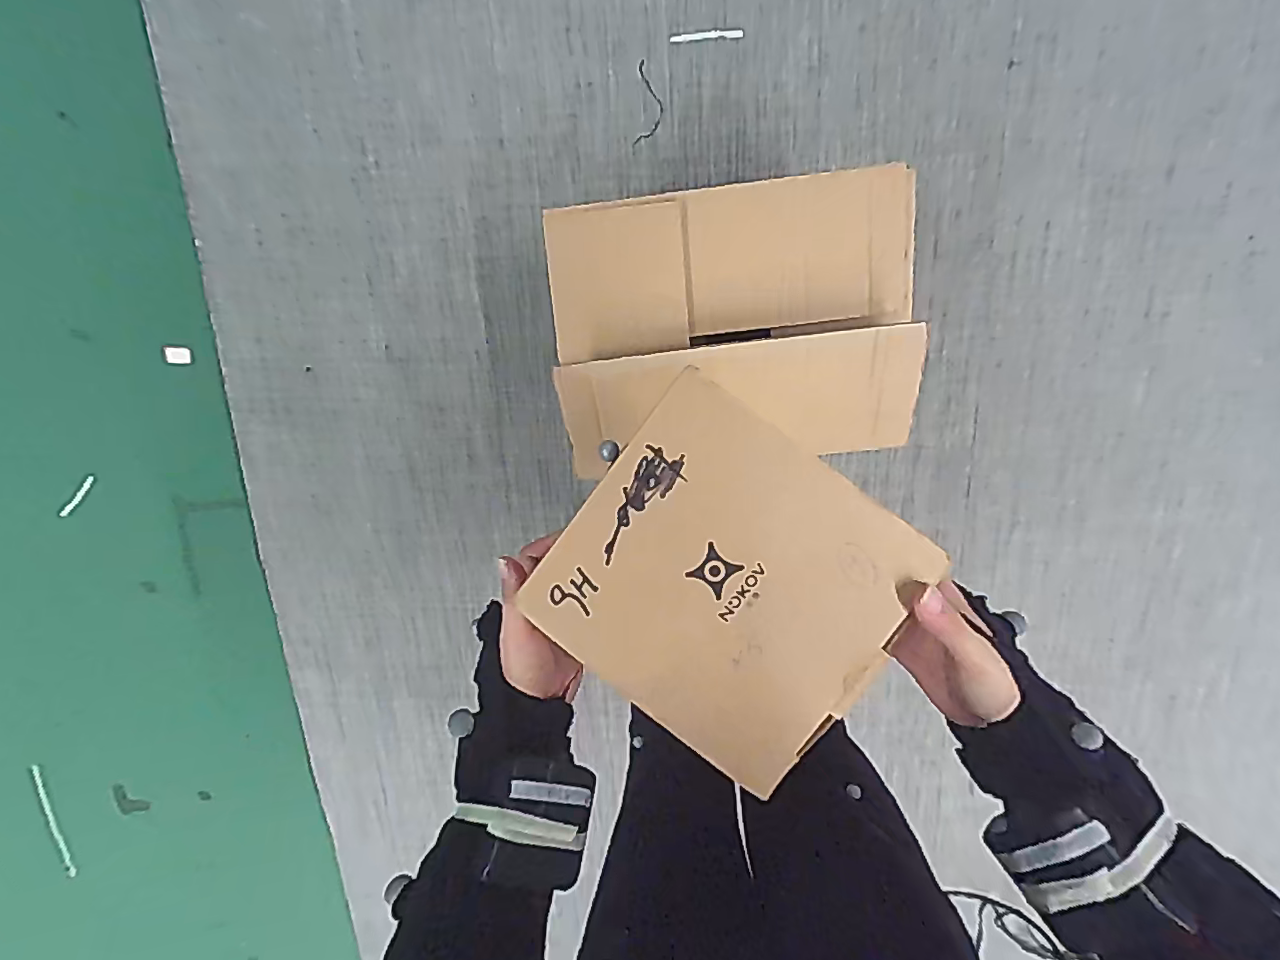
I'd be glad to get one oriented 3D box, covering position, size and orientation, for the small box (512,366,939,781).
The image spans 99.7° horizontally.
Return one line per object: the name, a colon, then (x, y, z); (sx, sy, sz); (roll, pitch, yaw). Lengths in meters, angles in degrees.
small box: (0.048, 0.049, 0.373); (0.179, 0.176, 0.168); (37, 92, 1)
